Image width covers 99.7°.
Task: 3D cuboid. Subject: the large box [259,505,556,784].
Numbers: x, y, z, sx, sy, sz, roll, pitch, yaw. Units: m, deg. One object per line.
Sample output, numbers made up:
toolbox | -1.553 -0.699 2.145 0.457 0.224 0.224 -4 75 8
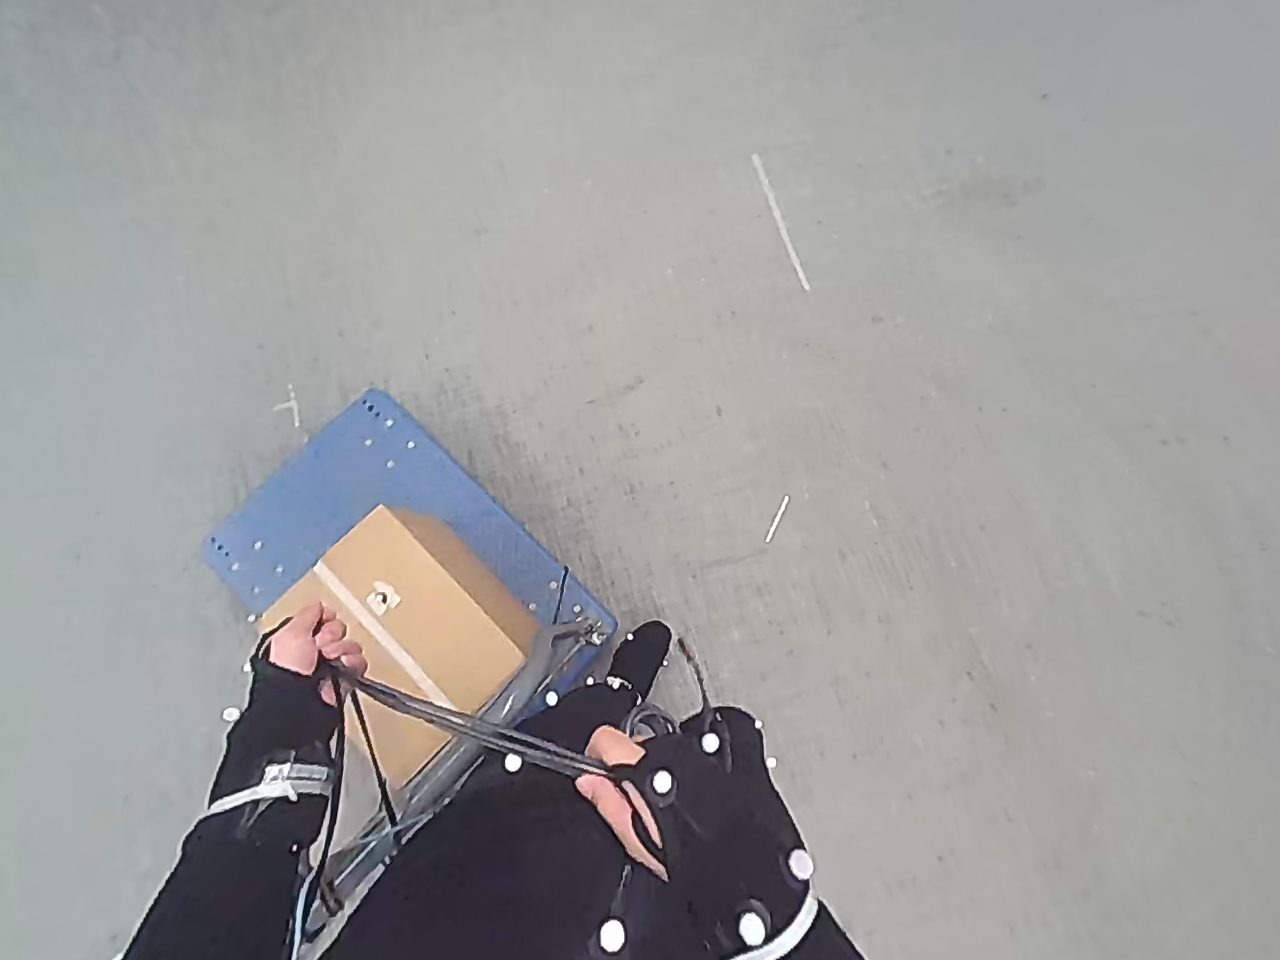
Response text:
large box | -0.437 0.309 1.111 0.408 0.320 0.320 44 83 7
